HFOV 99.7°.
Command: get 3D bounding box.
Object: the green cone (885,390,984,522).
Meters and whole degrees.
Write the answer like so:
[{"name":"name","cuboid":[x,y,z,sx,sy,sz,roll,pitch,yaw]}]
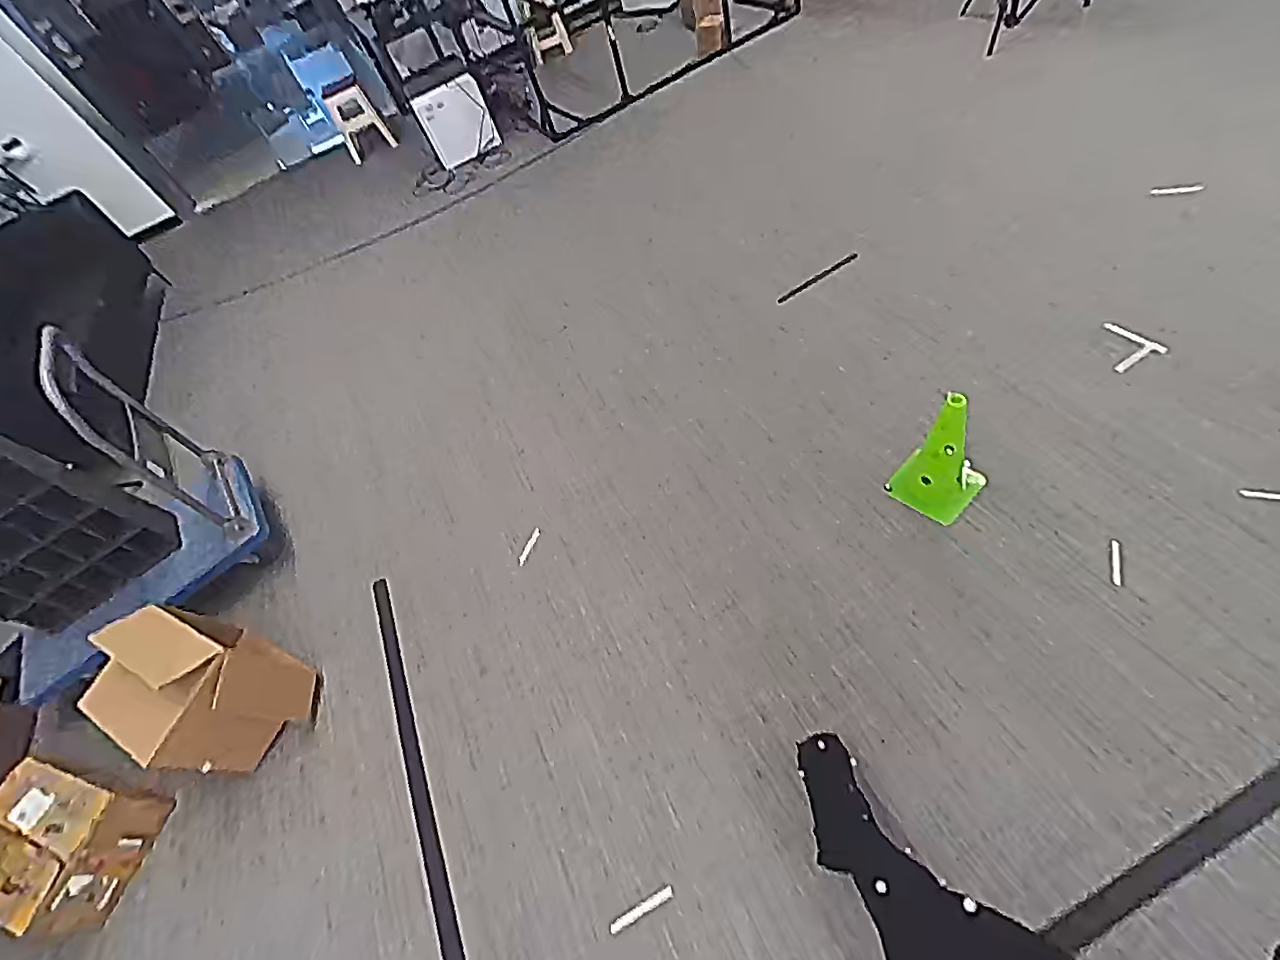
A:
[{"name":"green cone","cuboid":[0.785,-0.089,1.389,0.202,0.368,0.200,-43,54,-15]}]
